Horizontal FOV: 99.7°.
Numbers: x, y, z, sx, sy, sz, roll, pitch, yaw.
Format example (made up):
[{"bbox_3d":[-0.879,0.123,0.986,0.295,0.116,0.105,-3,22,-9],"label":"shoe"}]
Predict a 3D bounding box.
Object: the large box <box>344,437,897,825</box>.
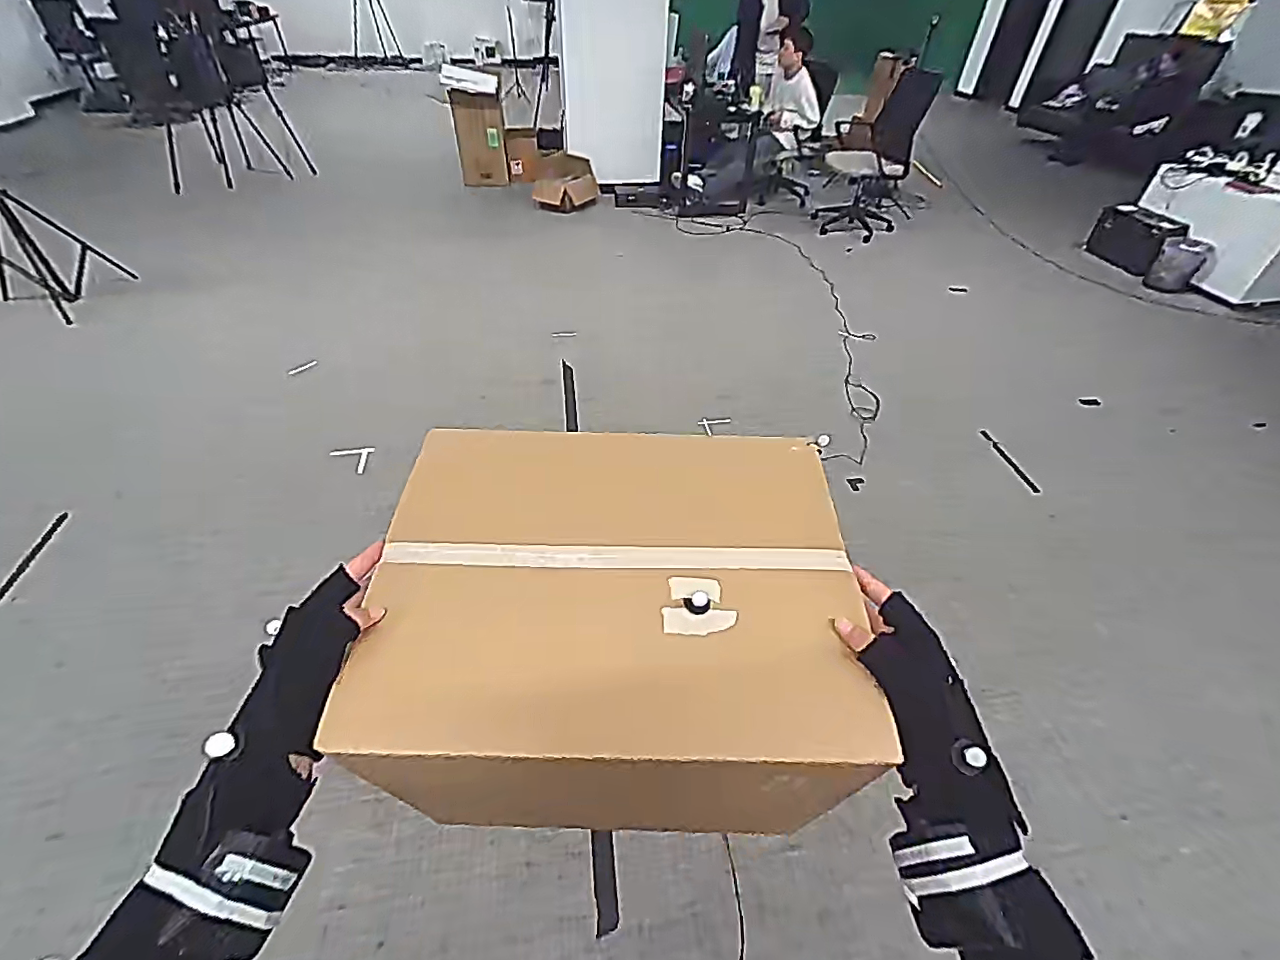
[{"bbox_3d":[-0.018,0.170,0.590,0.408,0.320,0.320,2,50,-1],"label":"large box"}]
